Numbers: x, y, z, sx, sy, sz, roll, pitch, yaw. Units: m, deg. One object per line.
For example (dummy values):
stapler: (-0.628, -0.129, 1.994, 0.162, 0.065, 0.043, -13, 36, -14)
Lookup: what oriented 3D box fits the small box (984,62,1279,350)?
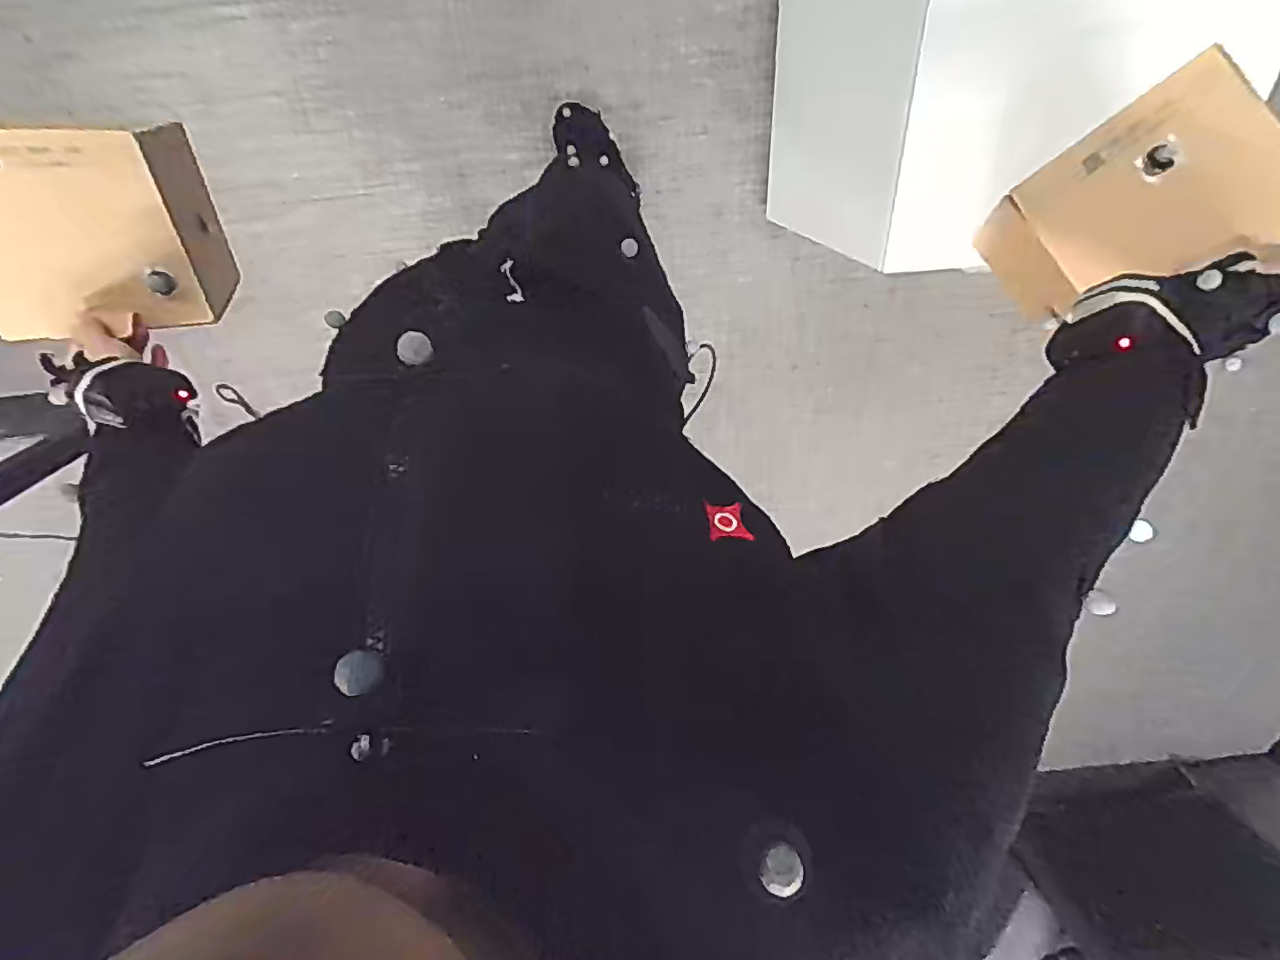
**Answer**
small box: (0.476, -0.250, 0.533, 0.168, 0.179, 0.176, -34, 84, 24)
